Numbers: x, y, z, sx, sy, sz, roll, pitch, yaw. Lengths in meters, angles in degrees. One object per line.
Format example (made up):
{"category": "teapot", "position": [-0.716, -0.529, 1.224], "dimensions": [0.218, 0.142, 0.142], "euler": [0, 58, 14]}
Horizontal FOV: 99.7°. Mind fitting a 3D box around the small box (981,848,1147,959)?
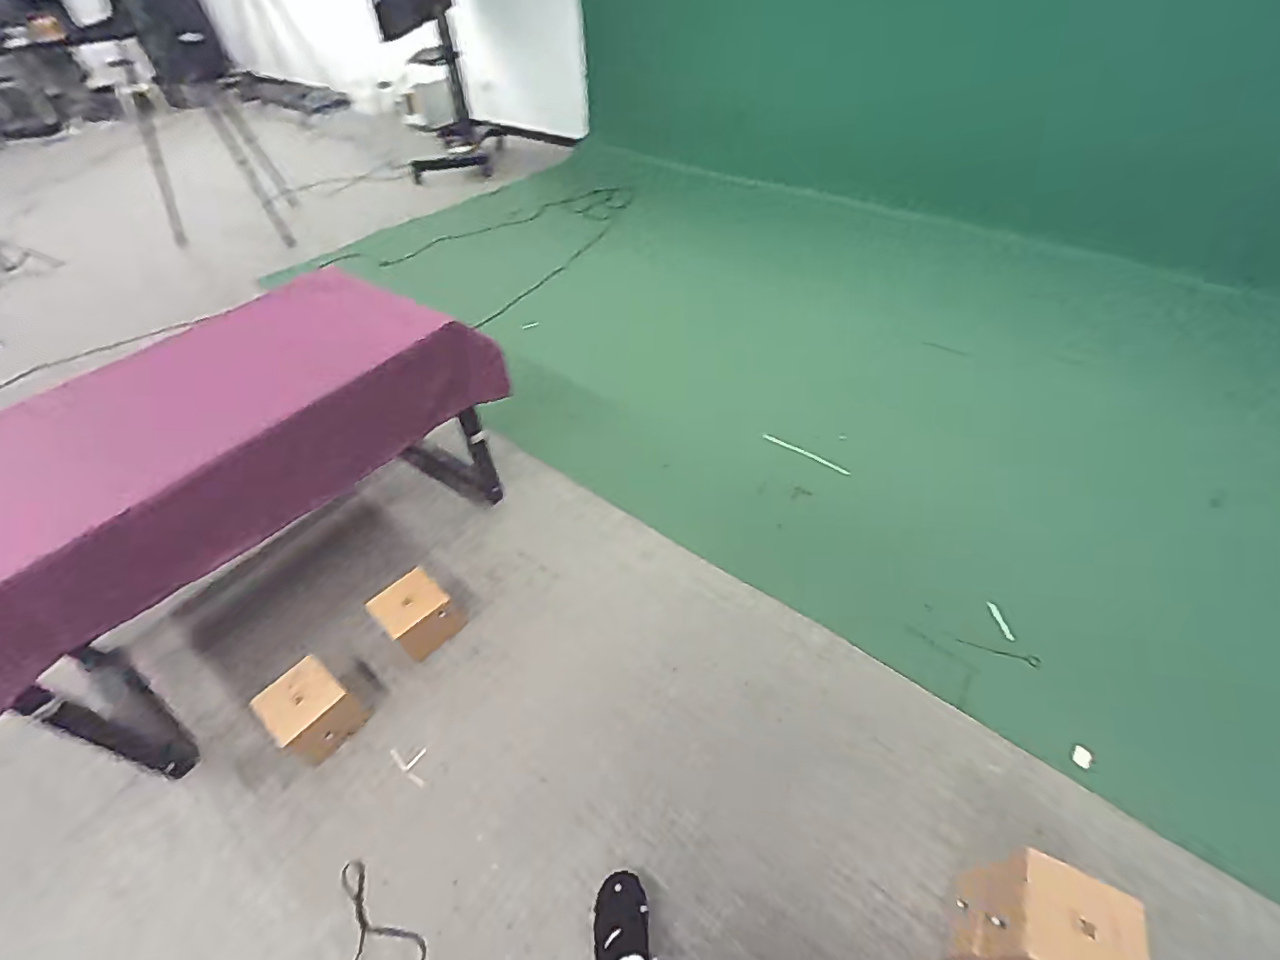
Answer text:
{"category": "small box", "position": [0.722, 0.784, 0.934], "dimensions": [0.179, 0.176, 0.168], "euler": [21, 52, 20]}
